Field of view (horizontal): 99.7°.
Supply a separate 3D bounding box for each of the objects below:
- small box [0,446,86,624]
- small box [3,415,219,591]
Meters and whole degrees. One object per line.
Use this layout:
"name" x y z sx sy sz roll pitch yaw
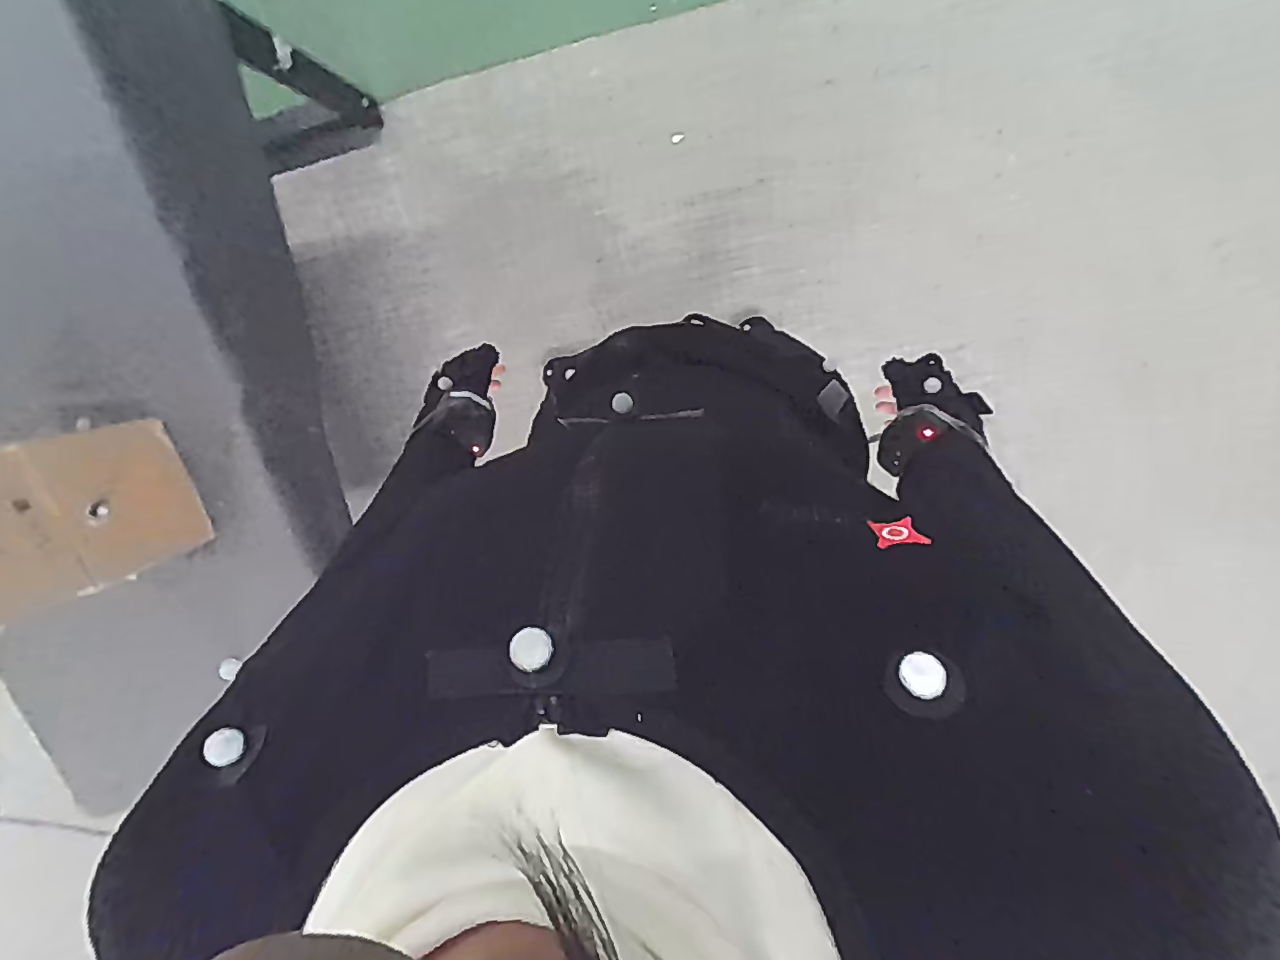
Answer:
"small box" -0.715 0.077 0.530 0.179 0.176 0.168 -14 105 8
"small box" -0.694 0.029 0.685 0.168 0.176 0.179 -12 104 8
